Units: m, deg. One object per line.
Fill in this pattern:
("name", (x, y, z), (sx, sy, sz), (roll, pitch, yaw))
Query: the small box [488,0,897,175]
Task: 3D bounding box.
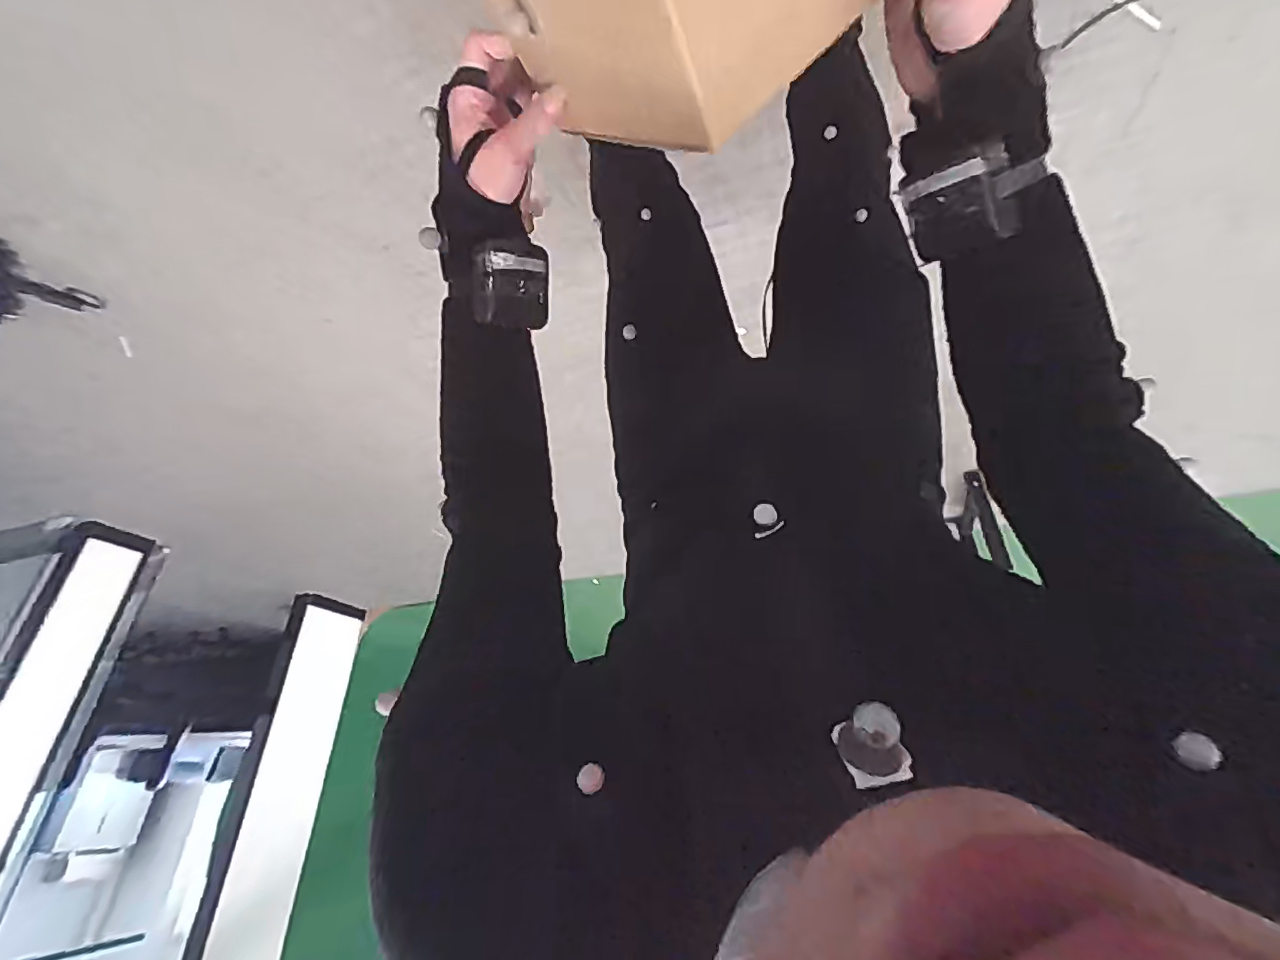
("small box", (0.013, -0.306, 0.295), (0.168, 0.179, 0.176), (-46, 140, -5))
